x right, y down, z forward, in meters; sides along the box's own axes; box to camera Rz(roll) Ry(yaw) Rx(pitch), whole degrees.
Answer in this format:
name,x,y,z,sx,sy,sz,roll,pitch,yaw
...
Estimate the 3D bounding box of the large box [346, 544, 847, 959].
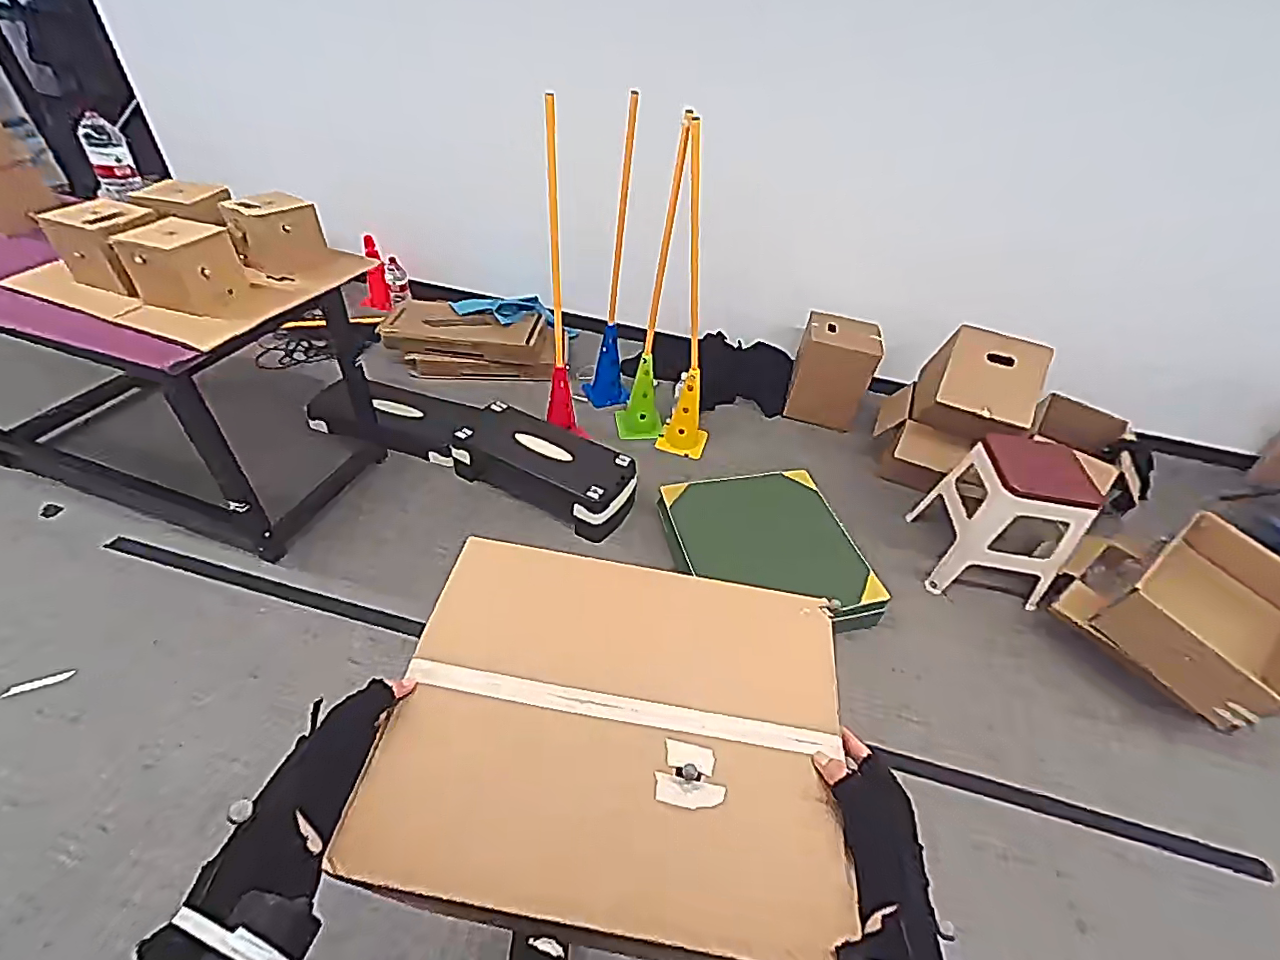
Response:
name,x,y,z,sx,sy,sz,roll,pitch,yaw
large box,-0.030,0.314,0.624,0.408,0.320,0.320,10,49,2
